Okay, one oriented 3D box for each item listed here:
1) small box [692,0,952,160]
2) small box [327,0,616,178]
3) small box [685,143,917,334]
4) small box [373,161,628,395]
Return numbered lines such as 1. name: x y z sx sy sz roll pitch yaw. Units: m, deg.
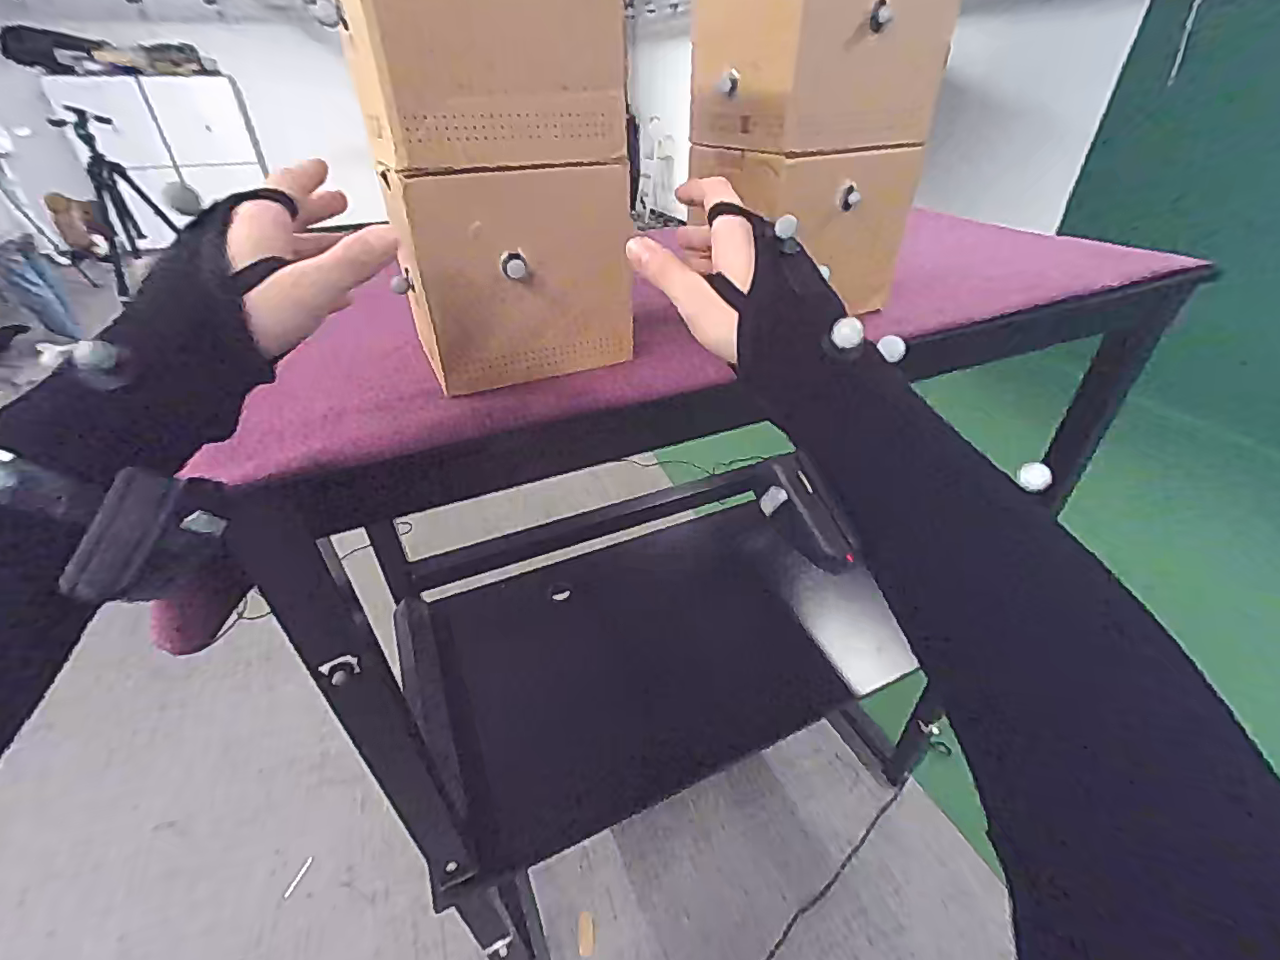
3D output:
1. small box: 0.160 -0.408 0.509 0.179 0.176 0.168 -18 39 -20
2. small box: -0.128 -0.328 0.406 0.179 0.176 0.168 -17 38 -22
3. small box: 0.164 -0.274 0.604 0.179 0.176 0.168 -17 38 -20
4. small box: -0.122 -0.194 0.497 0.179 0.176 0.168 -17 38 -21
